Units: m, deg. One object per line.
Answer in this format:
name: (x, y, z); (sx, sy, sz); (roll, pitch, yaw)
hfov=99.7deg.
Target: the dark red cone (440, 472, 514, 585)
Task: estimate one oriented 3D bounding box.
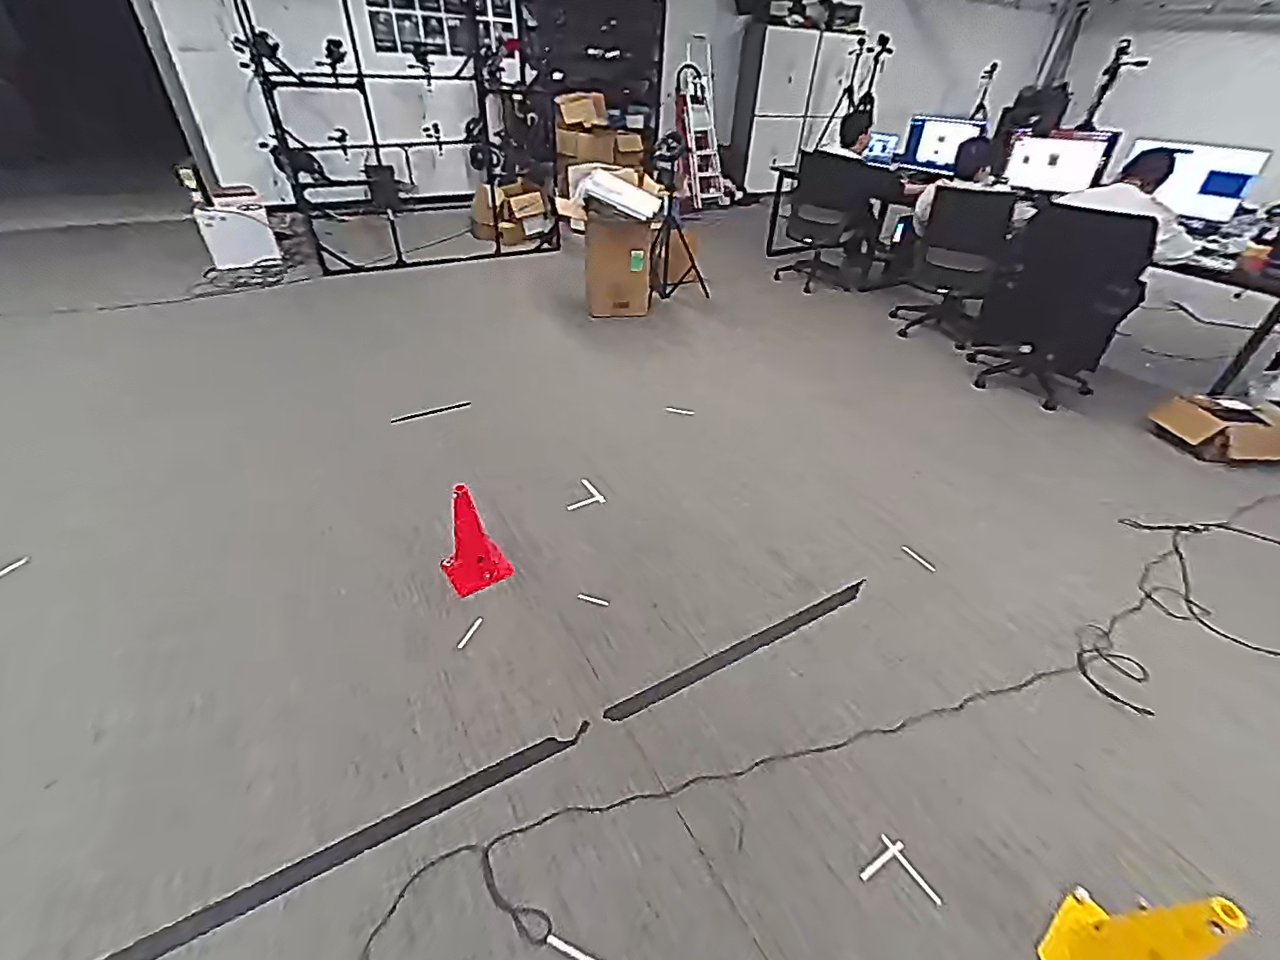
dark red cone: (-0.554, 0.142, 1.762); (0.202, 0.394, 0.201); (-23, 45, -30)
